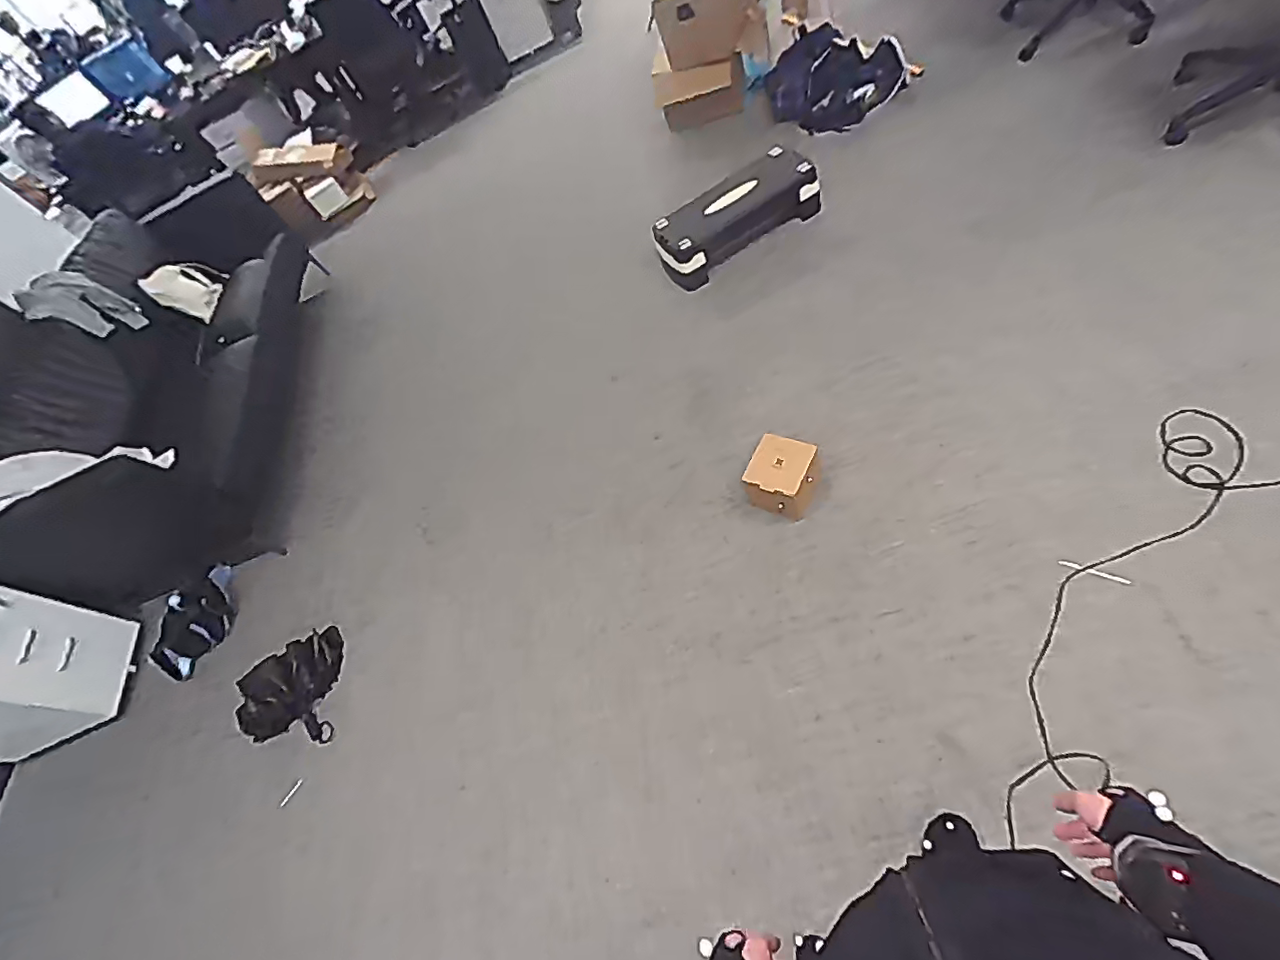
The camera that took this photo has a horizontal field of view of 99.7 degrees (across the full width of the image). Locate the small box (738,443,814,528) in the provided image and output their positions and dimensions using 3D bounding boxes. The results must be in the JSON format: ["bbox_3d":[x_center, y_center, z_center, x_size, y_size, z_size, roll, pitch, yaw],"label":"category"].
[{"bbox_3d":[0.420,0.020,1.643,0.168,0.176,0.179,18,67,29],"label":"small box"}]
